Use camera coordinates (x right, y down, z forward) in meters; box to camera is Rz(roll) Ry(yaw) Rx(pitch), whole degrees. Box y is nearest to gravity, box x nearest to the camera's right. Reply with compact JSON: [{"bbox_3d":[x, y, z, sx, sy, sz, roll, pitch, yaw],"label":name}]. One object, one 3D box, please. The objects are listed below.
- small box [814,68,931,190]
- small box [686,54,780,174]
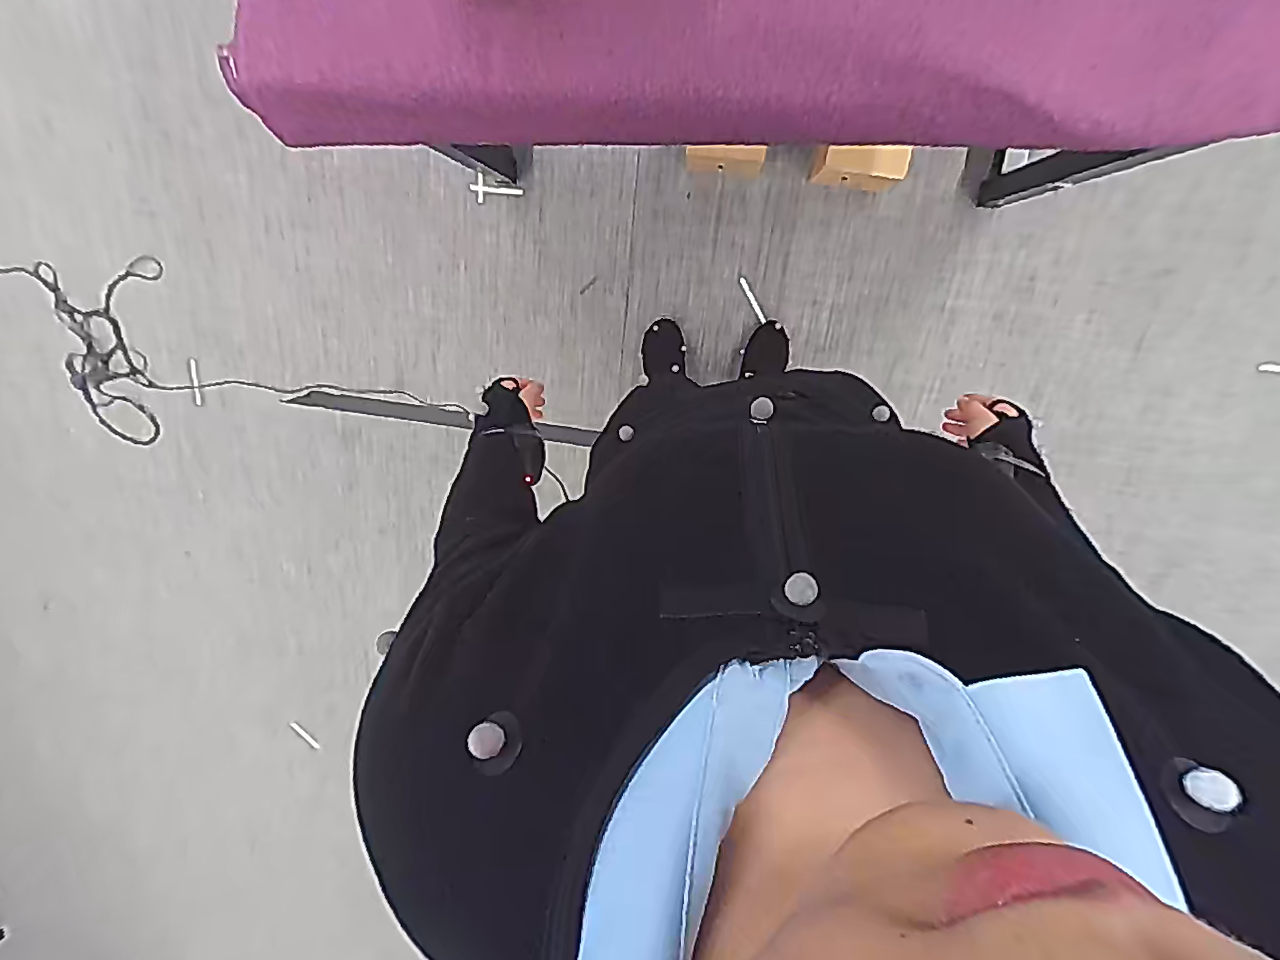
[{"bbox_3d":[0.482,-0.736,1.154,0.168,0.176,0.179,10,109,3],"label":"small box"},{"bbox_3d":[0.196,-0.780,1.170,0.168,0.176,0.179,8,109,4],"label":"small box"}]
